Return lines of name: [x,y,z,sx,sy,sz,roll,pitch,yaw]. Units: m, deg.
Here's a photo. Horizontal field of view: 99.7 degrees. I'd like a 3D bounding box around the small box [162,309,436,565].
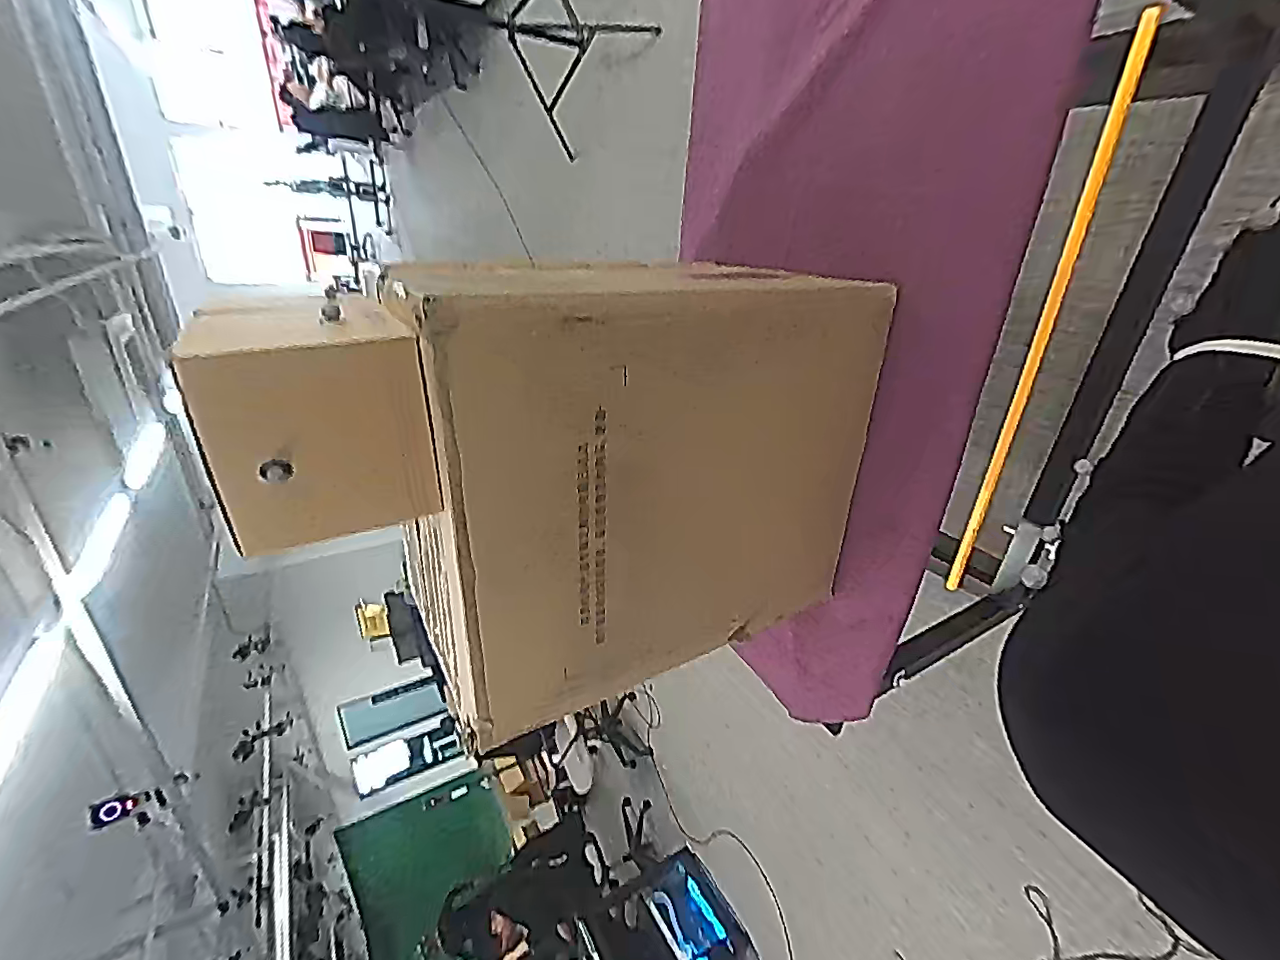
small box: [-0.301,-0.054,0.508,0.168,0.176,0.179,37,133,48]
